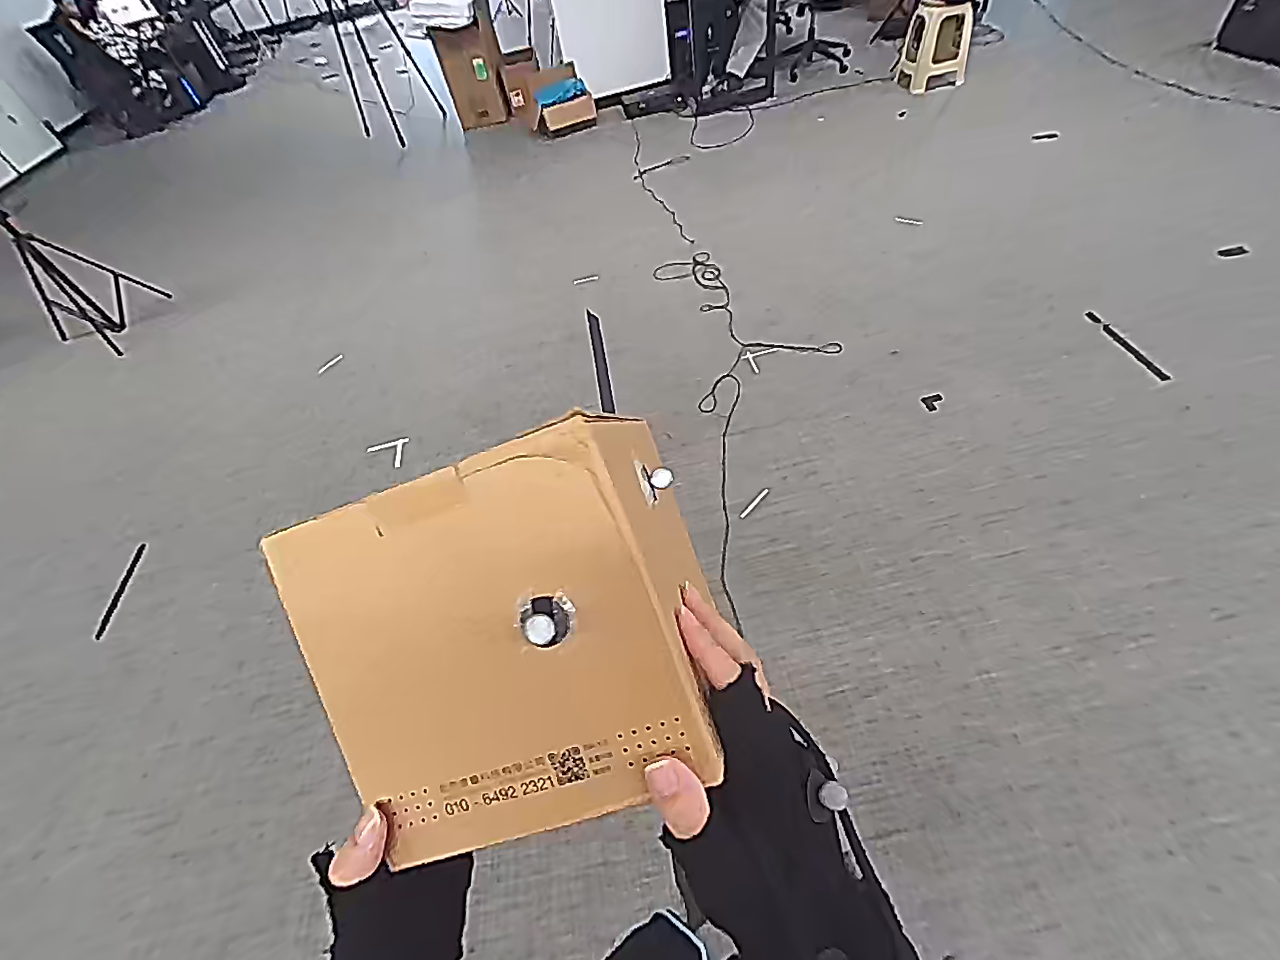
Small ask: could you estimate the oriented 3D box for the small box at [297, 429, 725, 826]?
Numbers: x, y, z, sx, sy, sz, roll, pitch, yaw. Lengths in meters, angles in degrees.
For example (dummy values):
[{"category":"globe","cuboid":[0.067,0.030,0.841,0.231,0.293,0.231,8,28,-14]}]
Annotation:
[{"category":"small box","cuboid":[-0.053,0.078,0.334,0.168,0.179,0.176,-21,91,11]}]
